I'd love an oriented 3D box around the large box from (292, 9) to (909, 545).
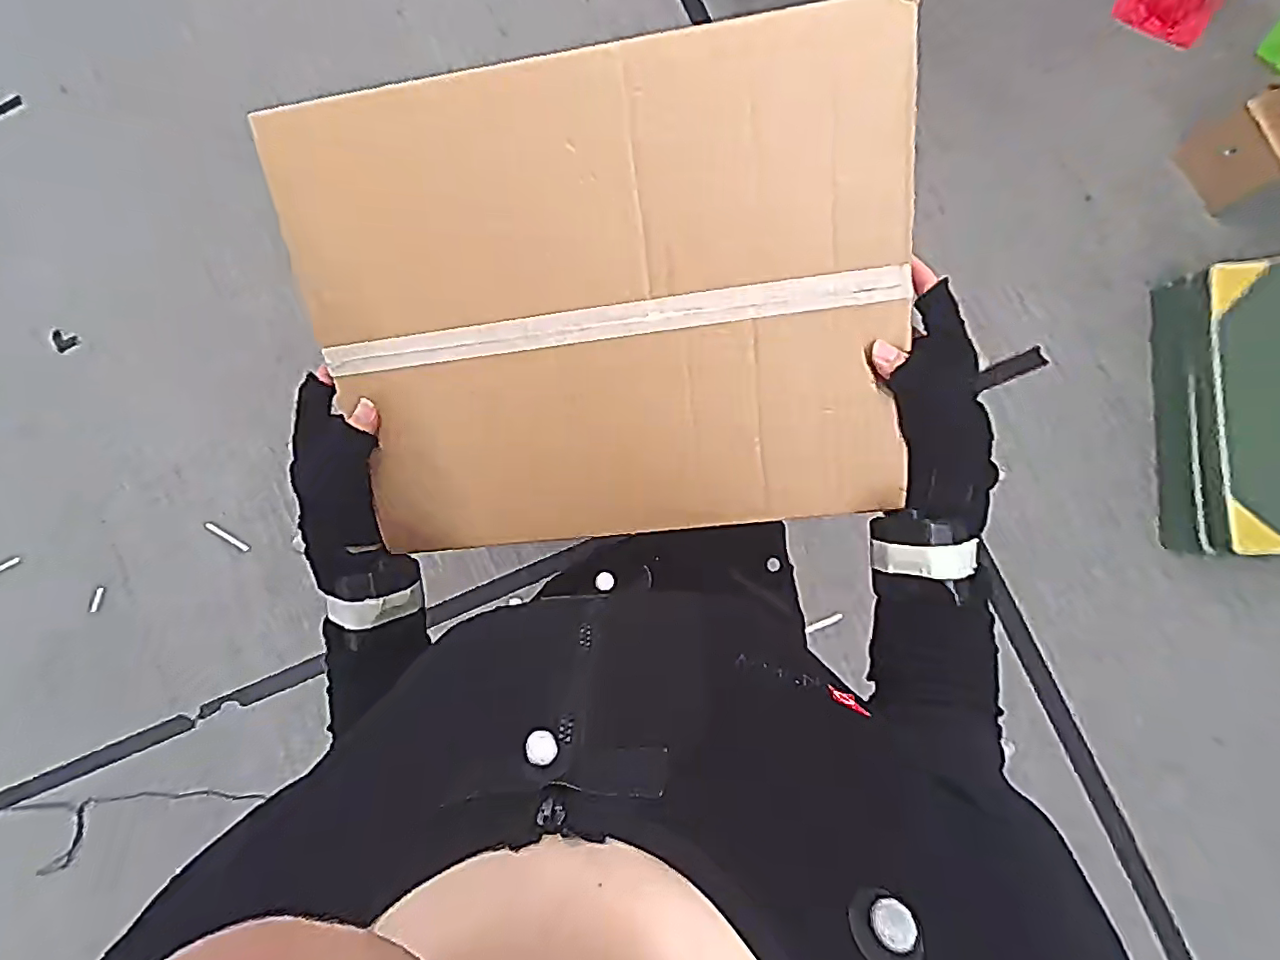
[{"bbox_3d":[-0.009,-0.158,0.524,0.408,0.320,0.320,-6,110,6],"label":"large box"}]
